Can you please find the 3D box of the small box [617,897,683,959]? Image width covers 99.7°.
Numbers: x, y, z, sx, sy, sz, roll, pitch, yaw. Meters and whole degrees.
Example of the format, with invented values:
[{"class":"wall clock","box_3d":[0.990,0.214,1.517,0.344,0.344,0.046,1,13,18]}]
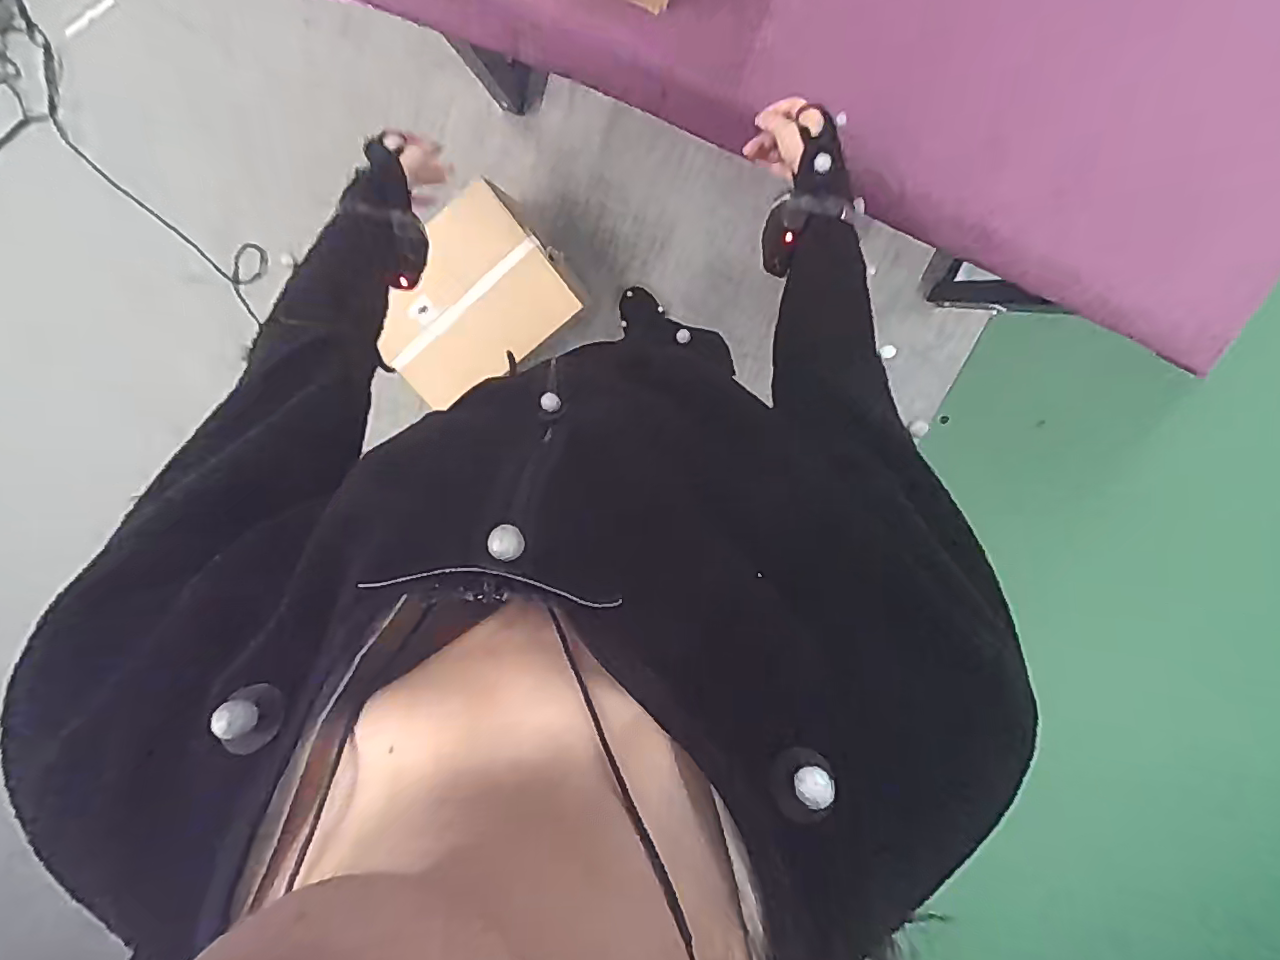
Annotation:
[{"class":"small box","box_3d":[0.034,1.388,1.603,0.168,0.176,0.179,-12,108,4]}]
